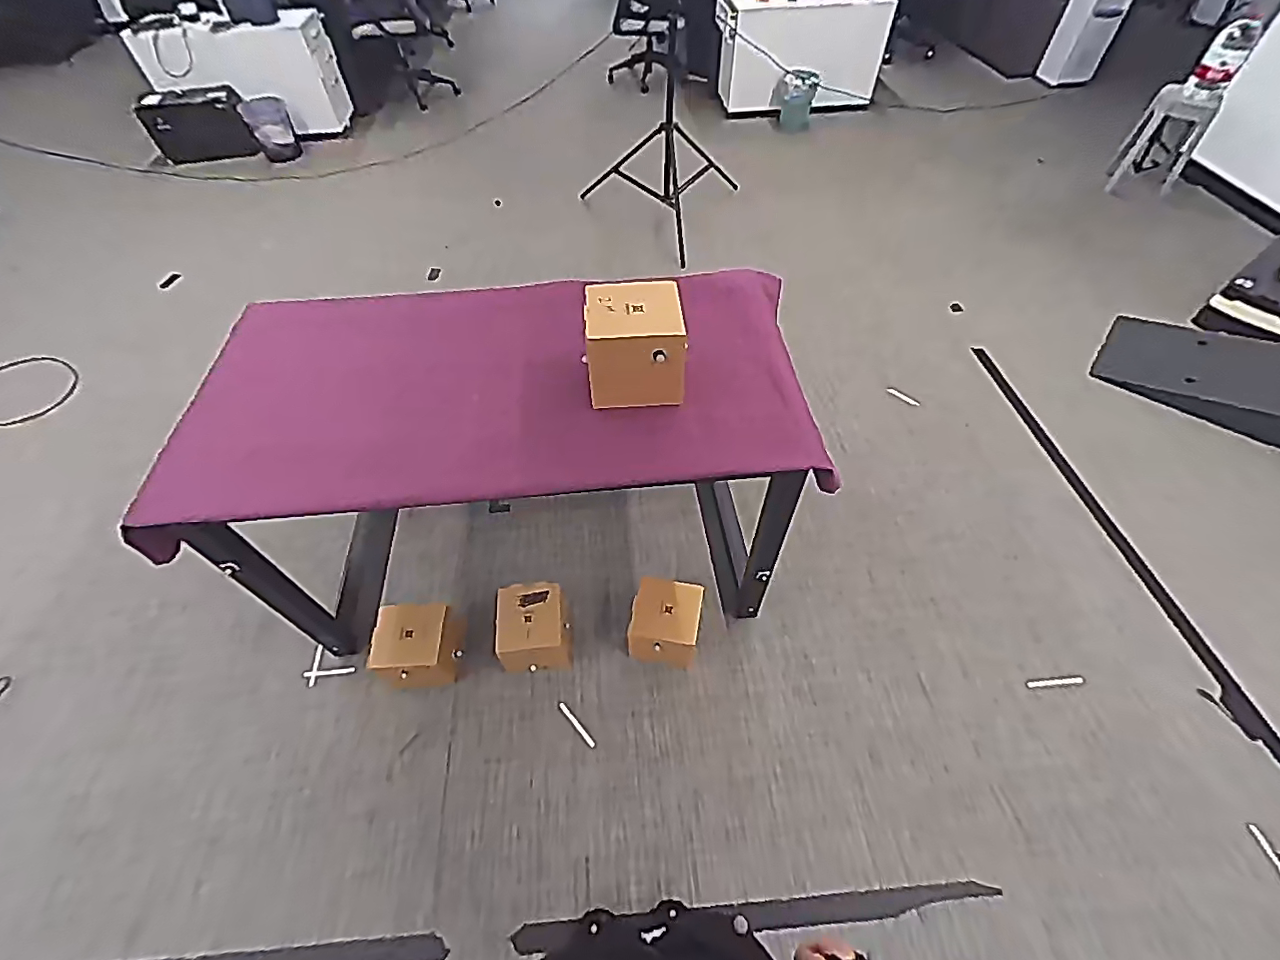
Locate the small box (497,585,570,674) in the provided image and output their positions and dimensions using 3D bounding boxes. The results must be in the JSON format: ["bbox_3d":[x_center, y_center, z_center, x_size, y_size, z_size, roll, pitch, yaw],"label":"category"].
[{"bbox_3d":[-0.282,0.403,1.457,0.168,0.176,0.179,-6,54,-3],"label":"small box"}]

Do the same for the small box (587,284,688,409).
[{"bbox_3d":[-0.007,-0.251,1.034,0.179,0.176,0.168,-4,52,-1],"label":"small box"}]

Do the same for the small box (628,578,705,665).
[{"bbox_3d":[0.074,0.387,1.464,0.179,0.176,0.168,8,54,9],"label":"small box"}]

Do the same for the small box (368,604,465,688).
[{"bbox_3d":[-0.584,0.444,1.435,0.179,0.176,0.168,-2,53,-2],"label":"small box"}]
